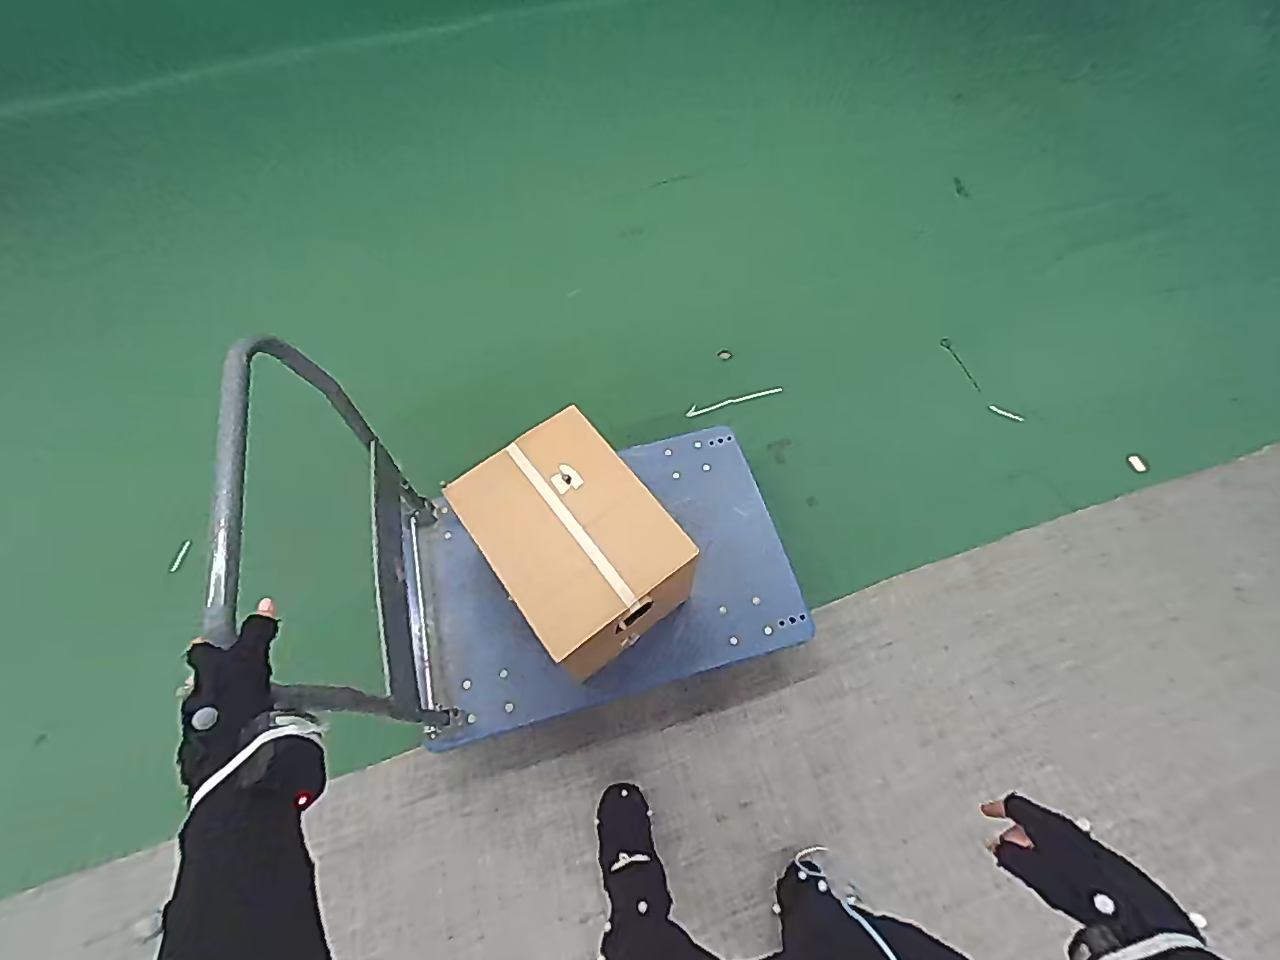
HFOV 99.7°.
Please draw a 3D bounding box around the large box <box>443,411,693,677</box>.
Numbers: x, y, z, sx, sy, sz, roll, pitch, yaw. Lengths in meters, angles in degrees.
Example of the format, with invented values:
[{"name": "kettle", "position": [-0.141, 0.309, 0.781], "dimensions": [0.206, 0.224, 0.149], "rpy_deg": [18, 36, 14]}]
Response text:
[{"name": "large box", "position": [-0.133, 0.144, 1.141], "dimensions": [0.320, 0.320, 0.408], "rpy_deg": [-36, 67, -14]}]
